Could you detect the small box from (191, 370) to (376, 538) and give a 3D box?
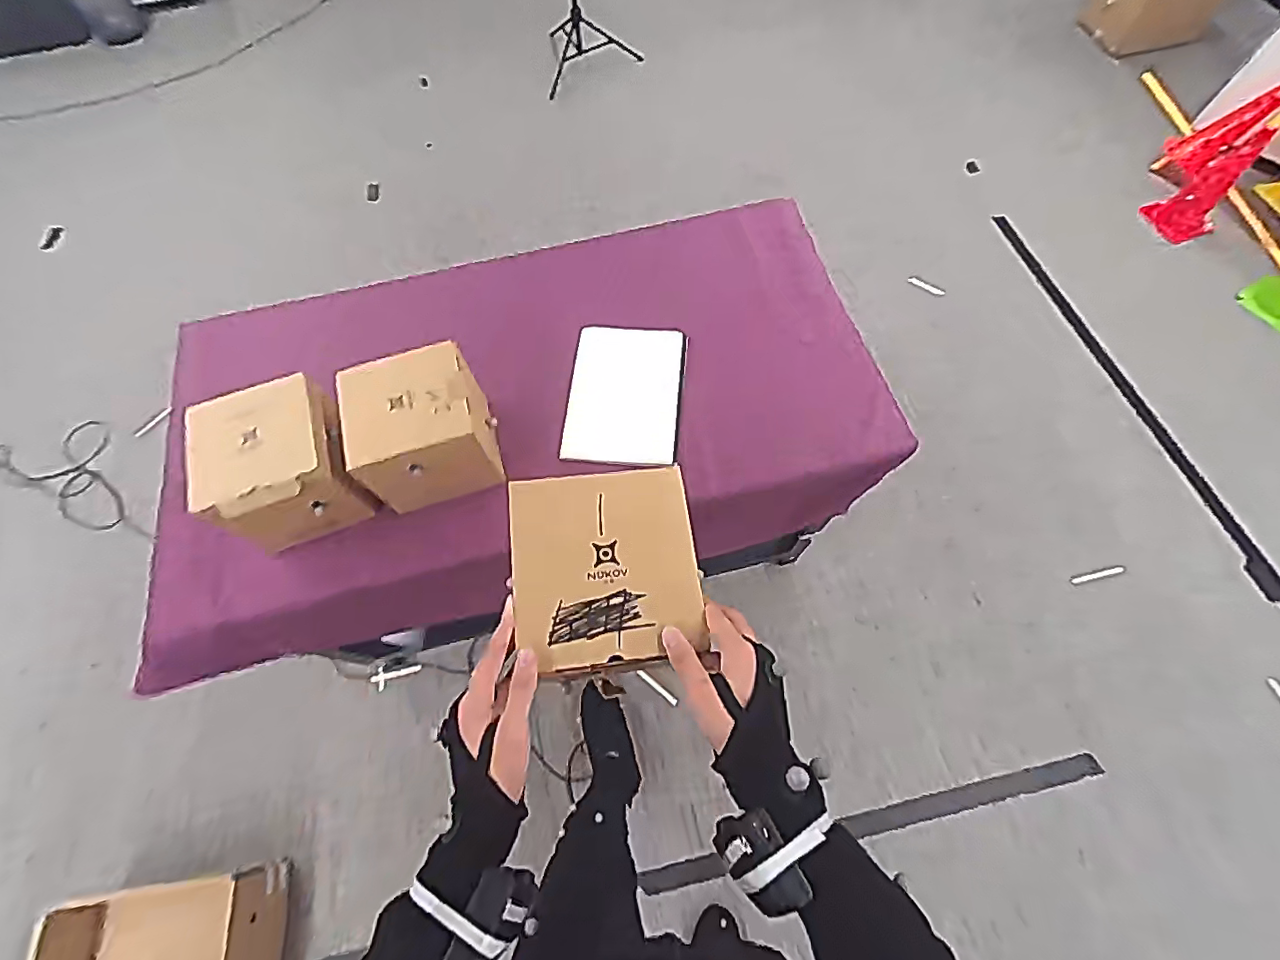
[{"bbox_3d":[-0.521,-0.027,0.808,0.168,0.176,0.179,-20,67,-8],"label":"small box"}]

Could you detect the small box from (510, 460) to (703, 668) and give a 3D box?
[{"bbox_3d":[-0.039,0.096,0.561,0.168,0.176,0.179,-4,67,-7],"label":"small box"}]

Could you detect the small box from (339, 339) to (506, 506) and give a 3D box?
[{"bbox_3d":[-0.323,-0.079,0.822,0.179,0.176,0.168,-17,67,-6],"label":"small box"}]
